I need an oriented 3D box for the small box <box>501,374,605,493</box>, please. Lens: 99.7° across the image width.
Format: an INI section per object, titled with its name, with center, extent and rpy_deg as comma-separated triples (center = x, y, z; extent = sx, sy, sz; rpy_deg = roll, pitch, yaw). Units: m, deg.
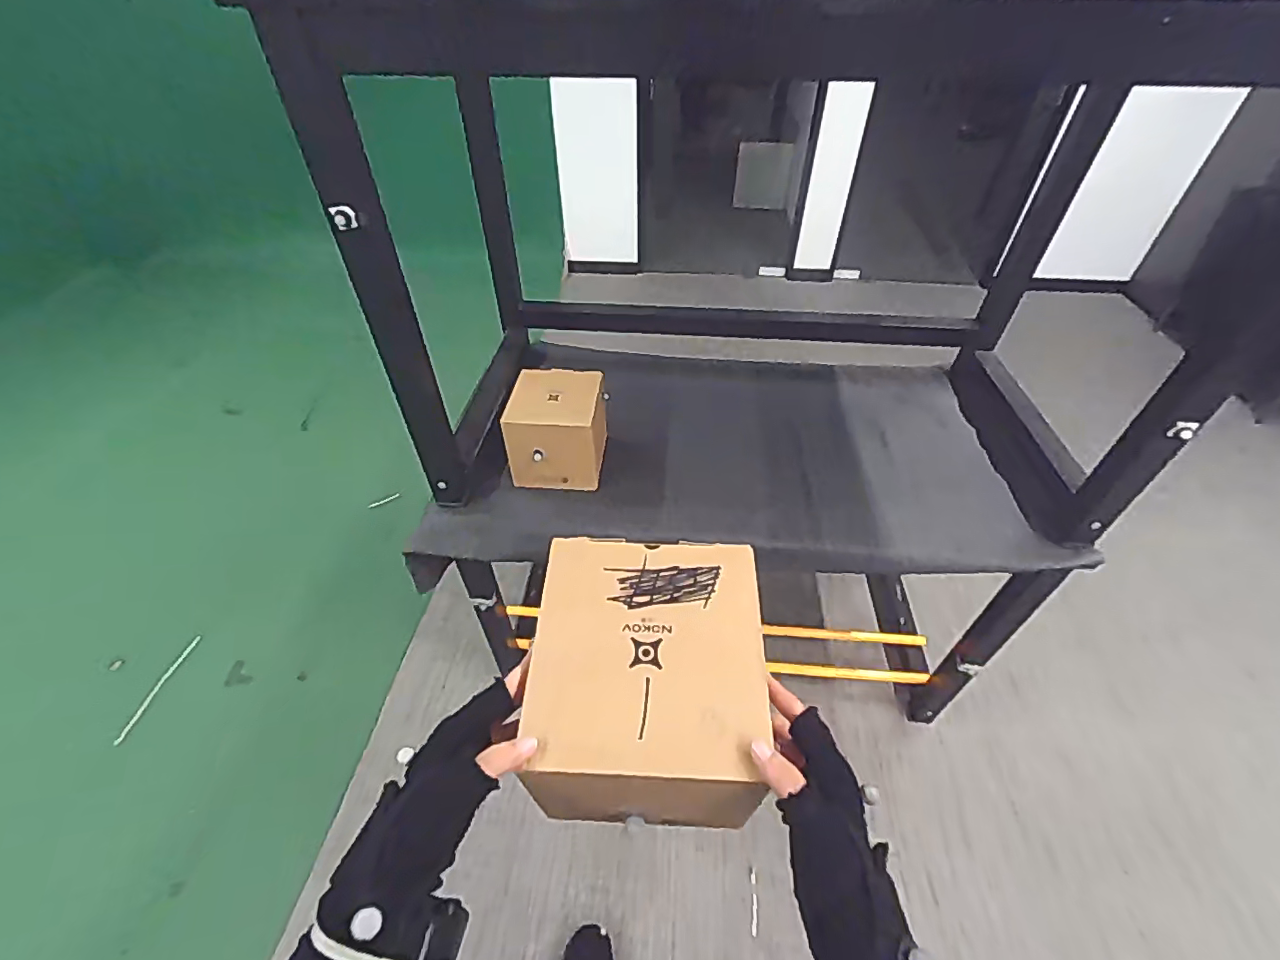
[small box]
center = -0.160, -0.090, 1.068
extent = 0.168, 0.176, 0.179
rpy_deg = 3, 43, 3
